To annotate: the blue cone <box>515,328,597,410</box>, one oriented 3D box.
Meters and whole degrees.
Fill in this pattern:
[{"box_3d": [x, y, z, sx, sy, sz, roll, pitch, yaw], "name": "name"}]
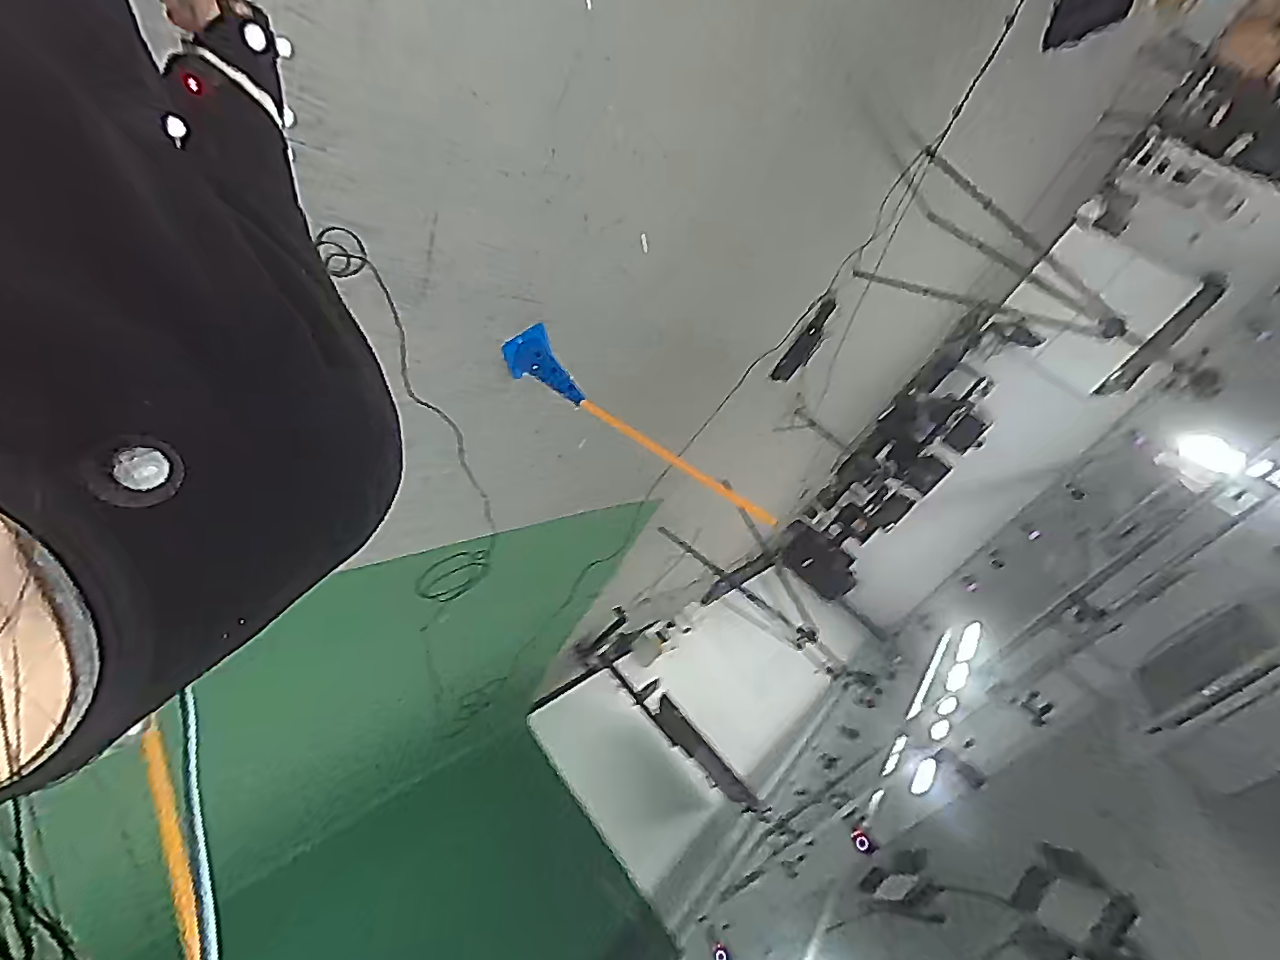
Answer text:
[{"box_3d": [-0.297, -0.396, 2.081, 0.193, 0.380, 0.192, -40, 155, -14], "name": "blue cone"}]
